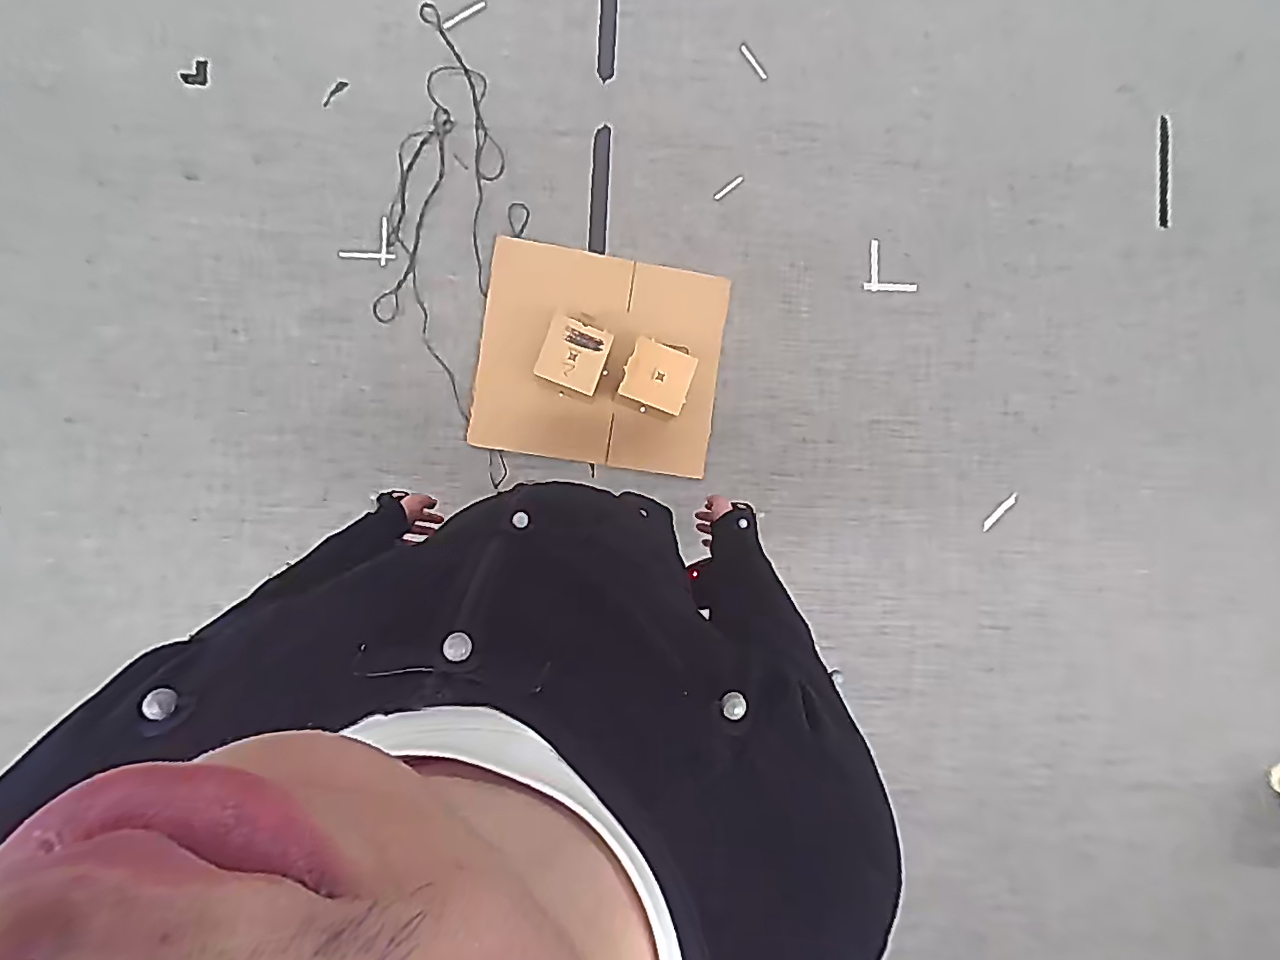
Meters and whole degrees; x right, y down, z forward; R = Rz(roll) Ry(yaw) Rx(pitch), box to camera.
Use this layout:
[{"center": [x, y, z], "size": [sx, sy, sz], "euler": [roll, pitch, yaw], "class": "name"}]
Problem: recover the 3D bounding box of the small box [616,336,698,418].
[{"center": [0.043, -0.282, 1.528], "size": [0.179, 0.176, 0.168], "euler": [21, 88, -5], "class": "small box"}]
